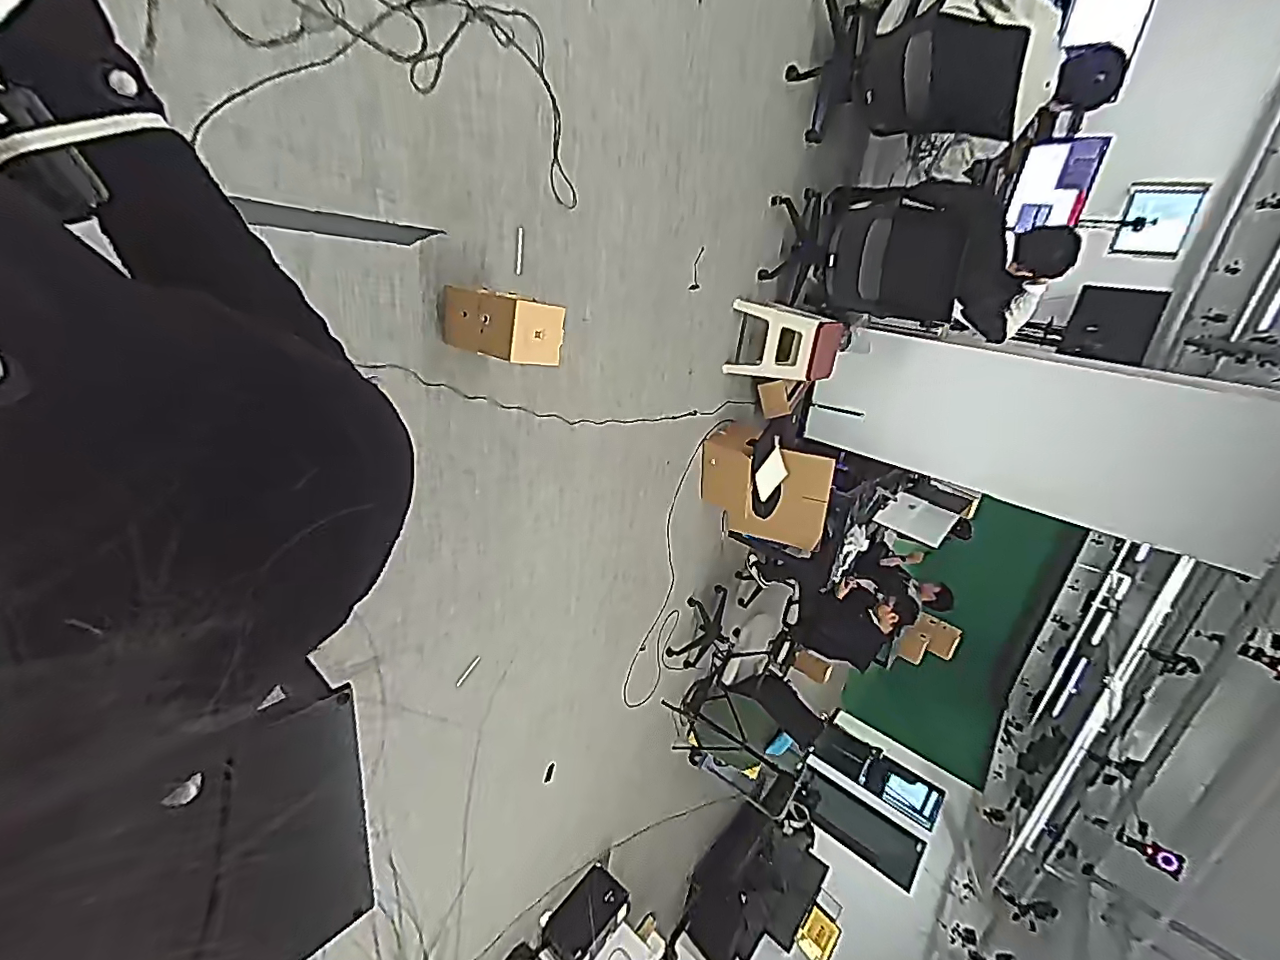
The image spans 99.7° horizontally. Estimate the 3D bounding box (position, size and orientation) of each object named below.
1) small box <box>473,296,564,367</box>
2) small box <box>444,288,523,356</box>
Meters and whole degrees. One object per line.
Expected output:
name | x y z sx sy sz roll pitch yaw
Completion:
small box | -0.344 -0.419 1.530 0.179 0.176 0.168 -11 116 -49
small box | -0.470 -0.475 1.619 0.168 0.176 0.179 -17 121 -48
